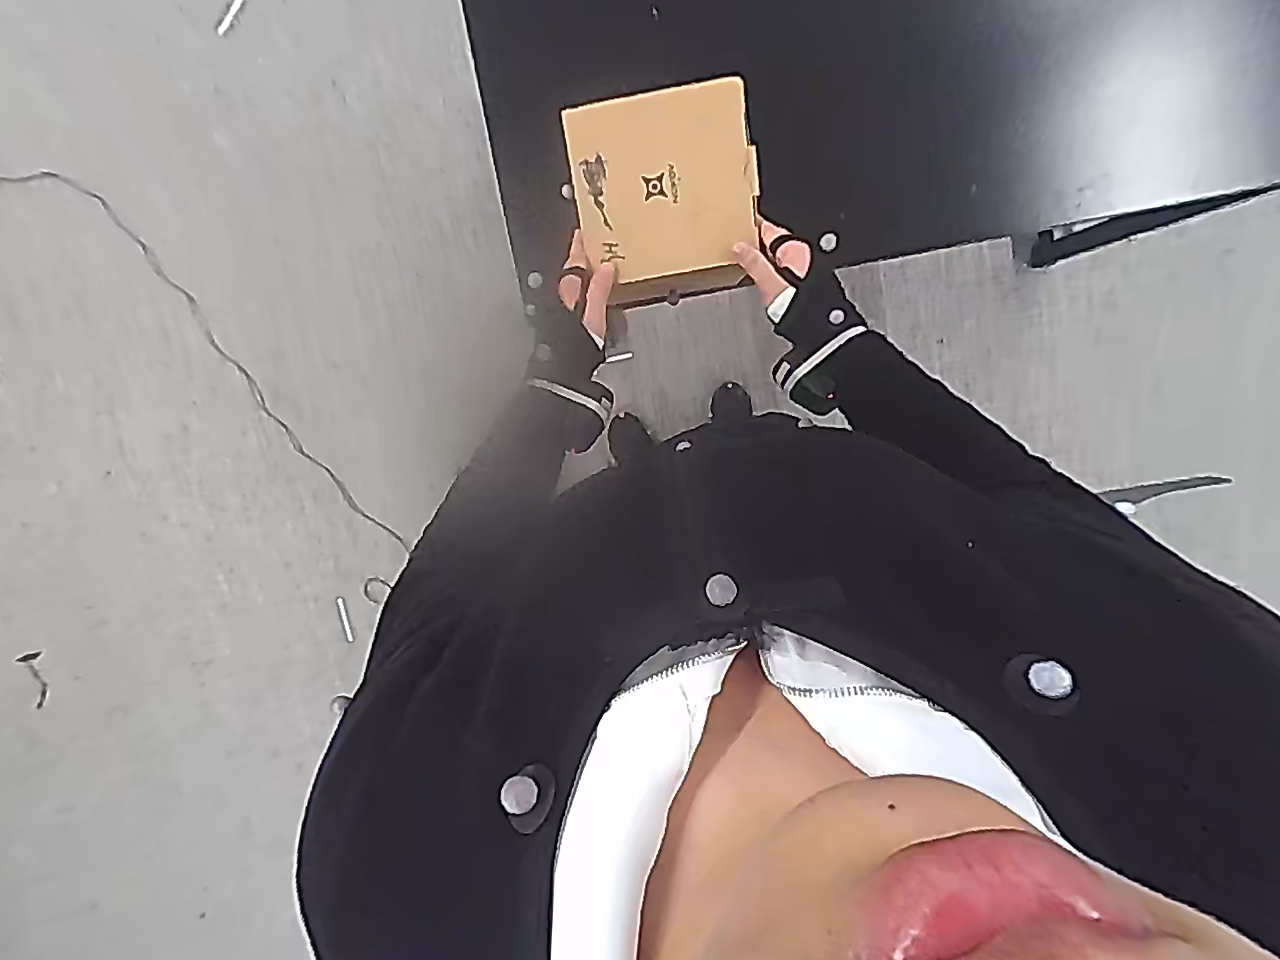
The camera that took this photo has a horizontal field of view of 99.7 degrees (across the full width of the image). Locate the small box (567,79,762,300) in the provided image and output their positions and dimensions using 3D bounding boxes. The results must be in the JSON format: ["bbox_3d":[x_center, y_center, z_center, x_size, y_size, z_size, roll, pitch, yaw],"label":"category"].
[{"bbox_3d":[0.026,-0.304,0.603,0.179,0.176,0.168,-8,102,2],"label":"small box"}]
